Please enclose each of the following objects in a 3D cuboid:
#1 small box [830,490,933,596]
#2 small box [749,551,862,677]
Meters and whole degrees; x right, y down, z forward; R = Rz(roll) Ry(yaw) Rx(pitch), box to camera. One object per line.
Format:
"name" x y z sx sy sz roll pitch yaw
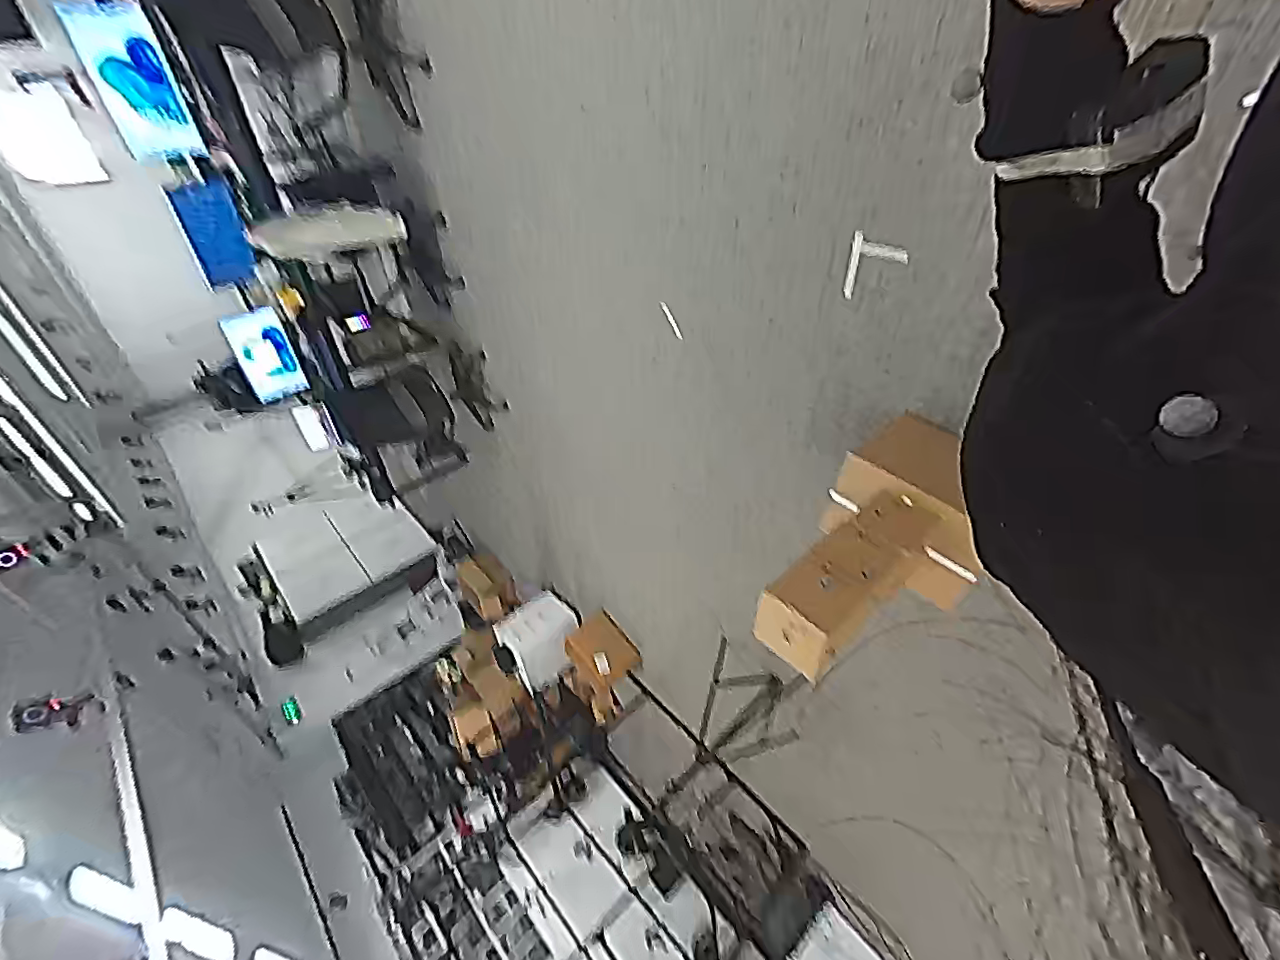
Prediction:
"small box" 0.618 0.154 1.382 0.168 0.176 0.179 33 141 36
"small box" 0.371 0.296 1.218 0.168 0.176 0.179 34 141 34
